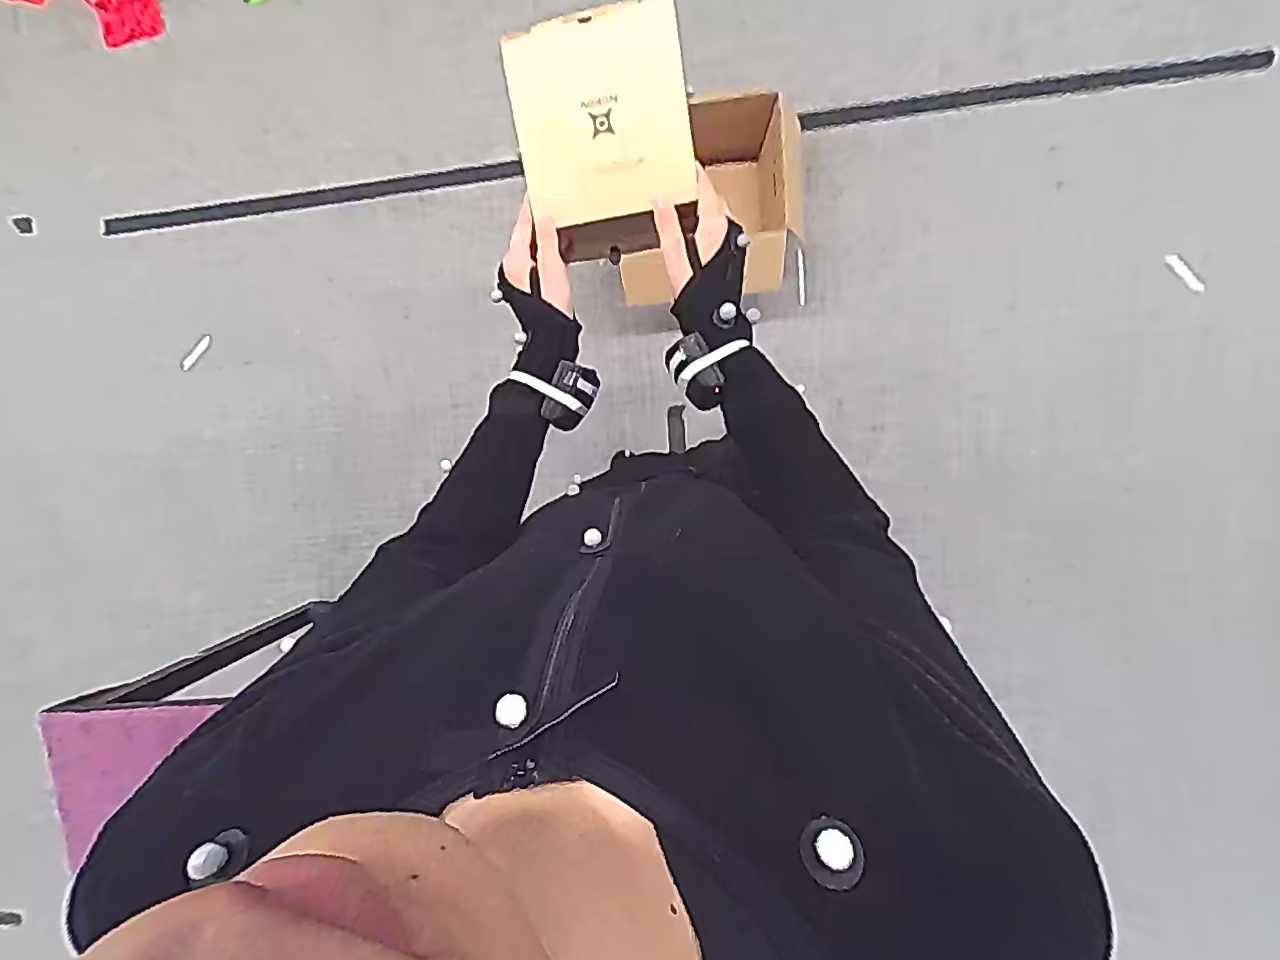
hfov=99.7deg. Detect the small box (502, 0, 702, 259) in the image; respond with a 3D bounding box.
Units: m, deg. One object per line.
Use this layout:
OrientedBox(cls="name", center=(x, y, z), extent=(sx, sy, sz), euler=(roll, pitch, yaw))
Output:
OrientedBox(cls="small box", center=(-0.030, -0.356, 0.579), extent=(0.168, 0.176, 0.179), euler=(-8, 100, 6))
